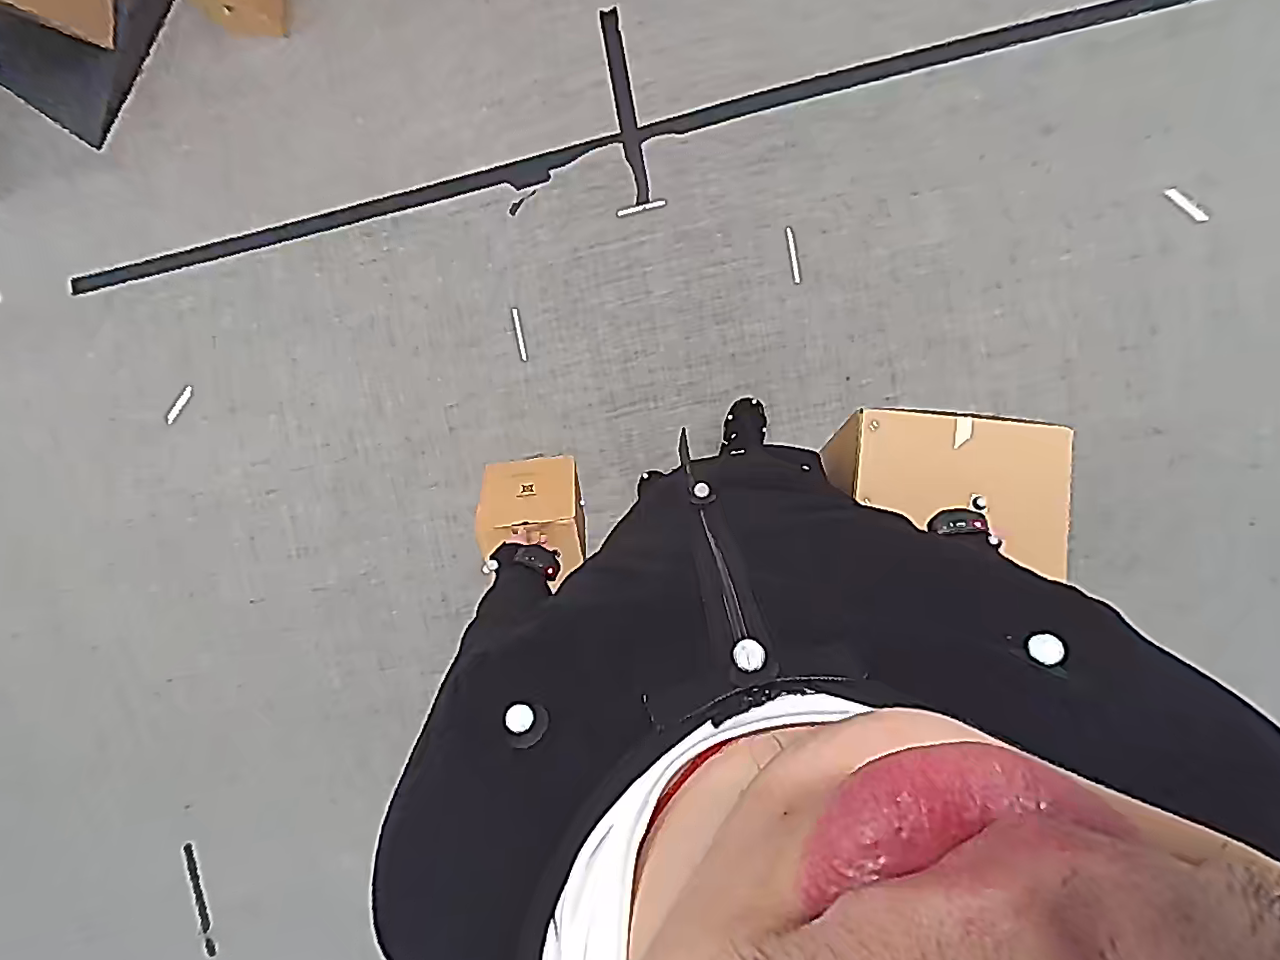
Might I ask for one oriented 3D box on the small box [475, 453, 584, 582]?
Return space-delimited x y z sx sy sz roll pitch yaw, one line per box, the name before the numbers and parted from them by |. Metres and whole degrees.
small box | -0.194 0.074 0.998 0.168 0.179 0.176 -6 130 -4
